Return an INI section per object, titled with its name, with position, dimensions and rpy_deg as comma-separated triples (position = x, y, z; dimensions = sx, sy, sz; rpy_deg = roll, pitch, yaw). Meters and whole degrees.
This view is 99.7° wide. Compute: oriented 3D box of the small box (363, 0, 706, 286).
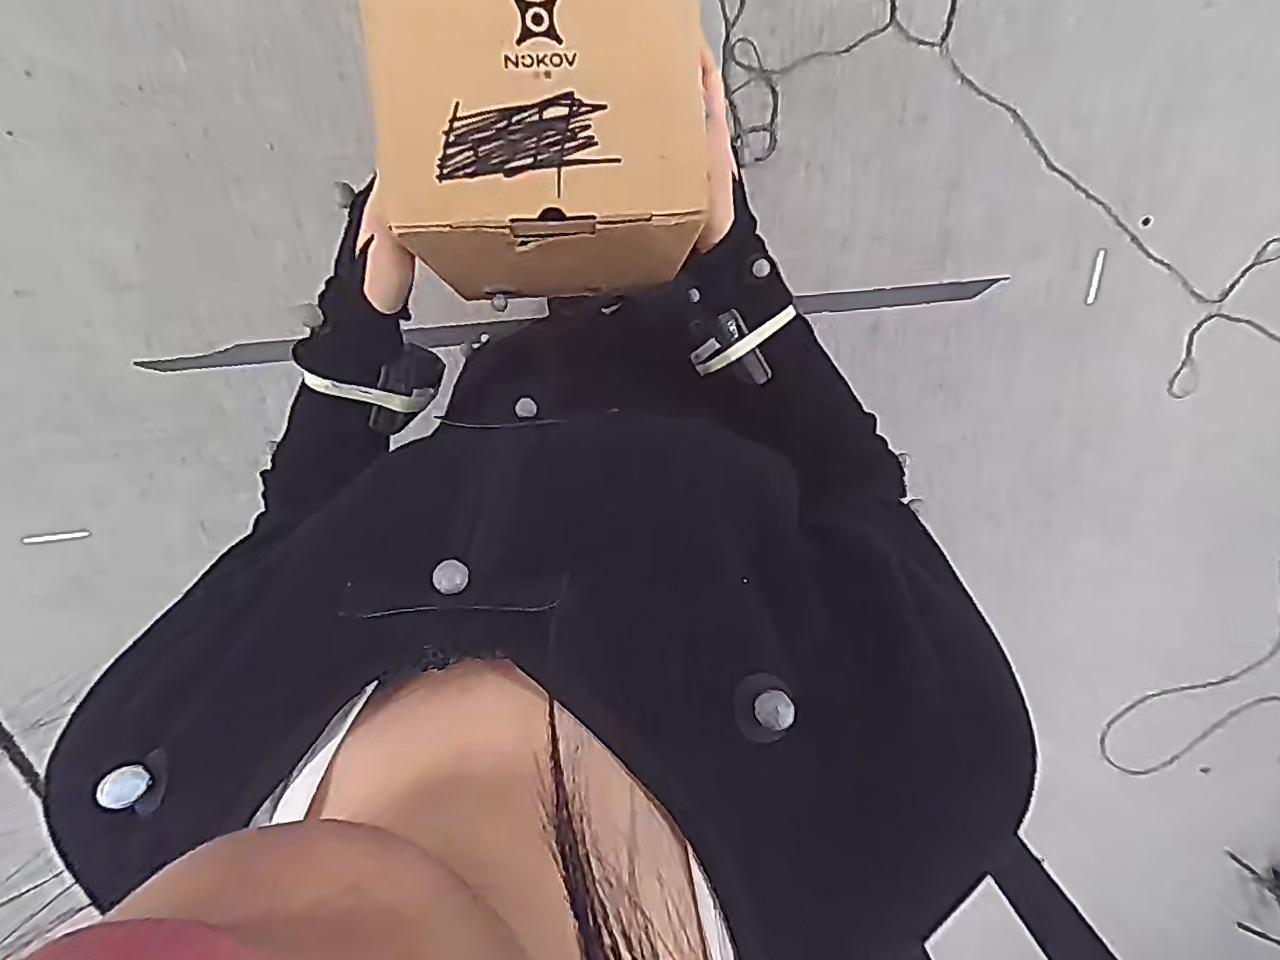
[small box]
position = -0.057, -0.230, 0.346
dimensions = 0.168, 0.176, 0.179
rpy_deg = -5, 96, -4
